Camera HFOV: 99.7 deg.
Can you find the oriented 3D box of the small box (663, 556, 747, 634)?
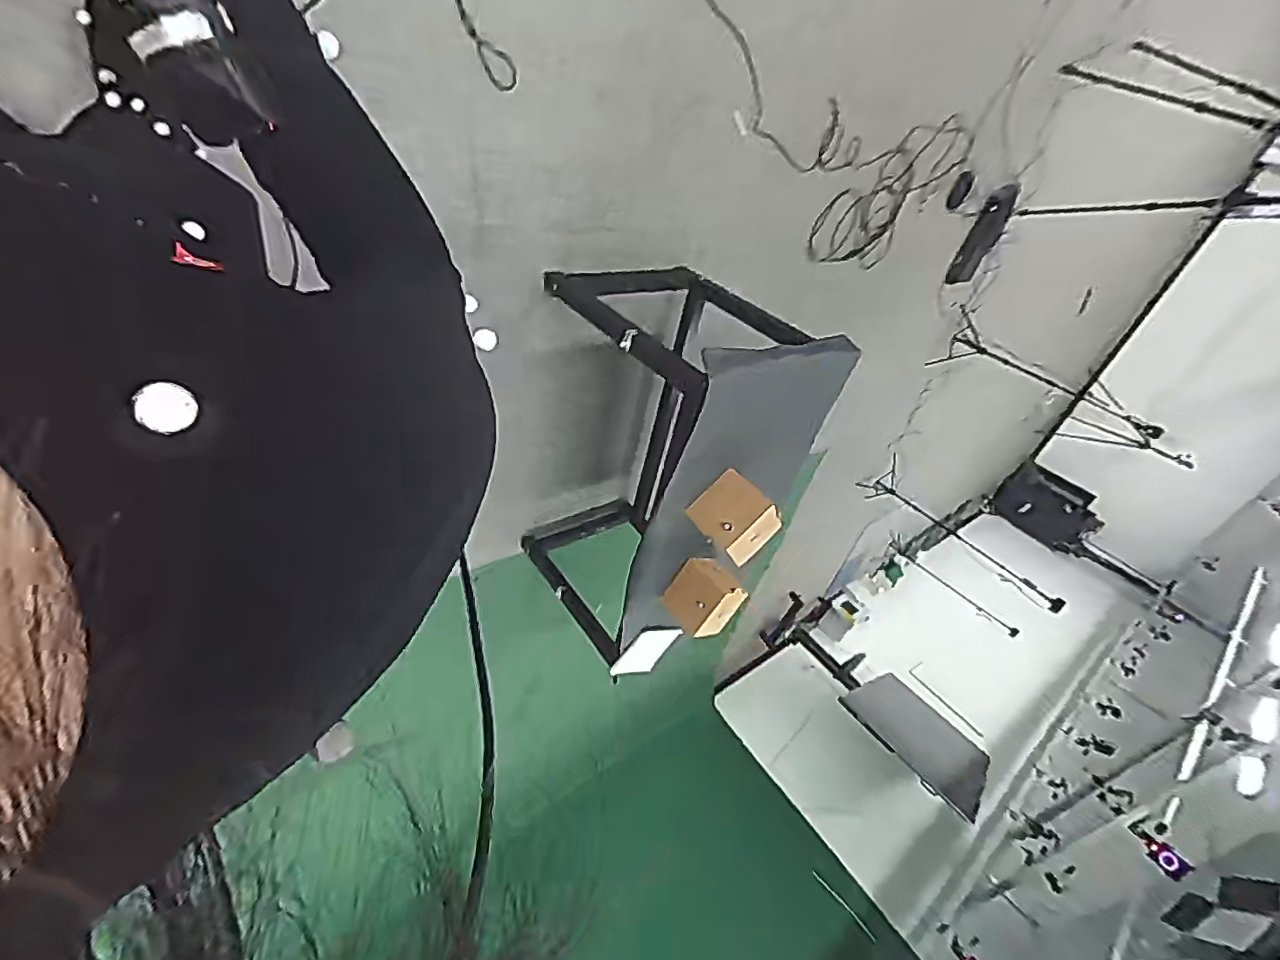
[{"bbox_3d":[0.198,0.363,1.714,0.168,0.176,0.179,15,112,-53],"label":"small box"}]

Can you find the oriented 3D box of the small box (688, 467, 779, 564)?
[{"bbox_3d":[0.254,0.098,1.501,0.179,0.176,0.168,-45,147,-3],"label":"small box"}]

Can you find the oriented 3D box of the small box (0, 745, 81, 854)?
[{"bbox_3d":[-1.643,0.862,1.462,0.179,0.176,0.168,-1,125,-46],"label":"small box"}]
